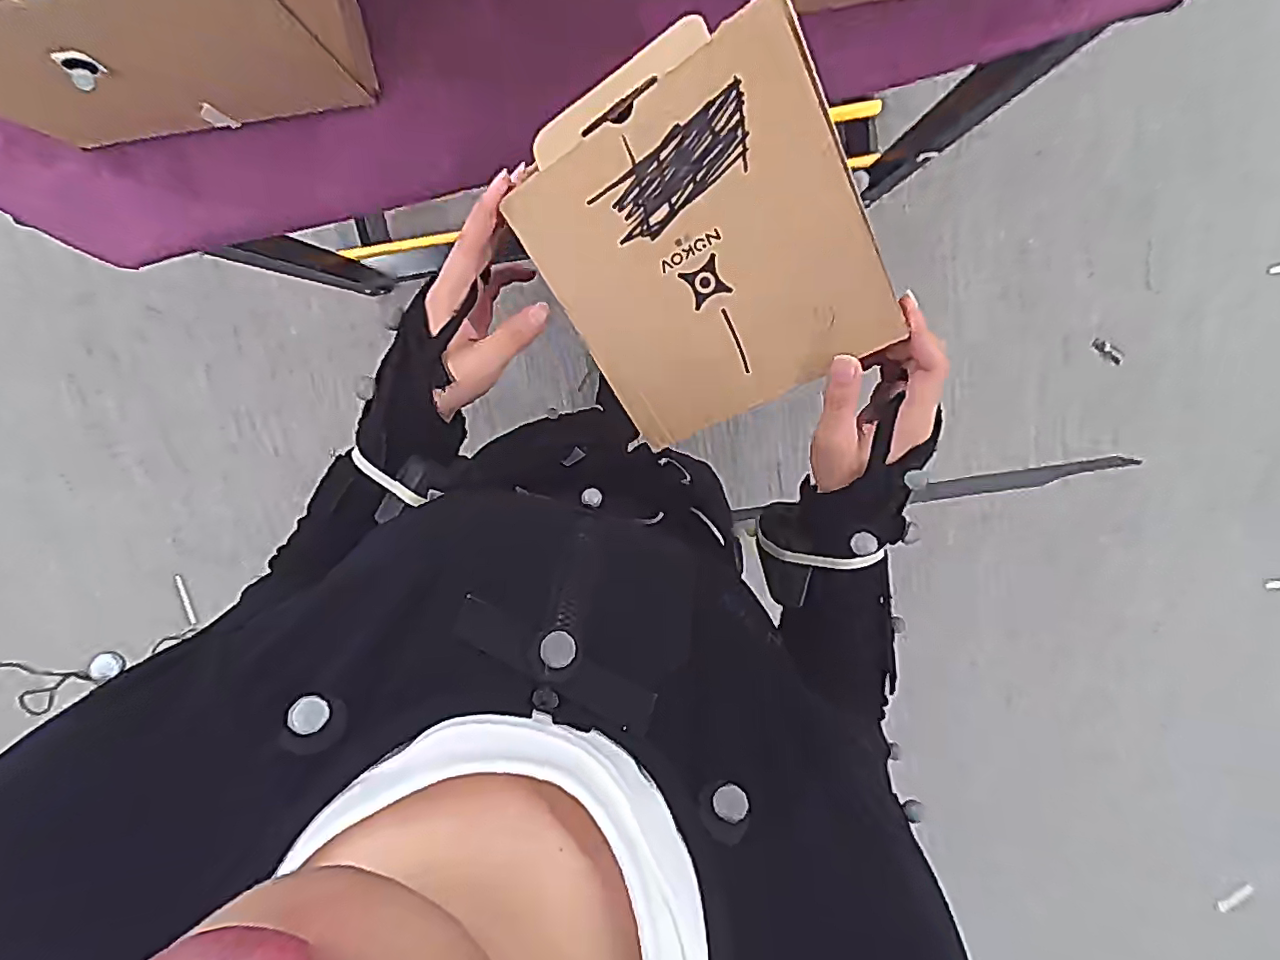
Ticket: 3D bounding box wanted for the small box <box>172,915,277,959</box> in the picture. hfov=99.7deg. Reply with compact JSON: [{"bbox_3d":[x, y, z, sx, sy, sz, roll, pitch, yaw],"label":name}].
[{"bbox_3d":[-1.079,1.252,1.374,0.168,0.176,0.179,-16,102,4],"label":"small box"}]
